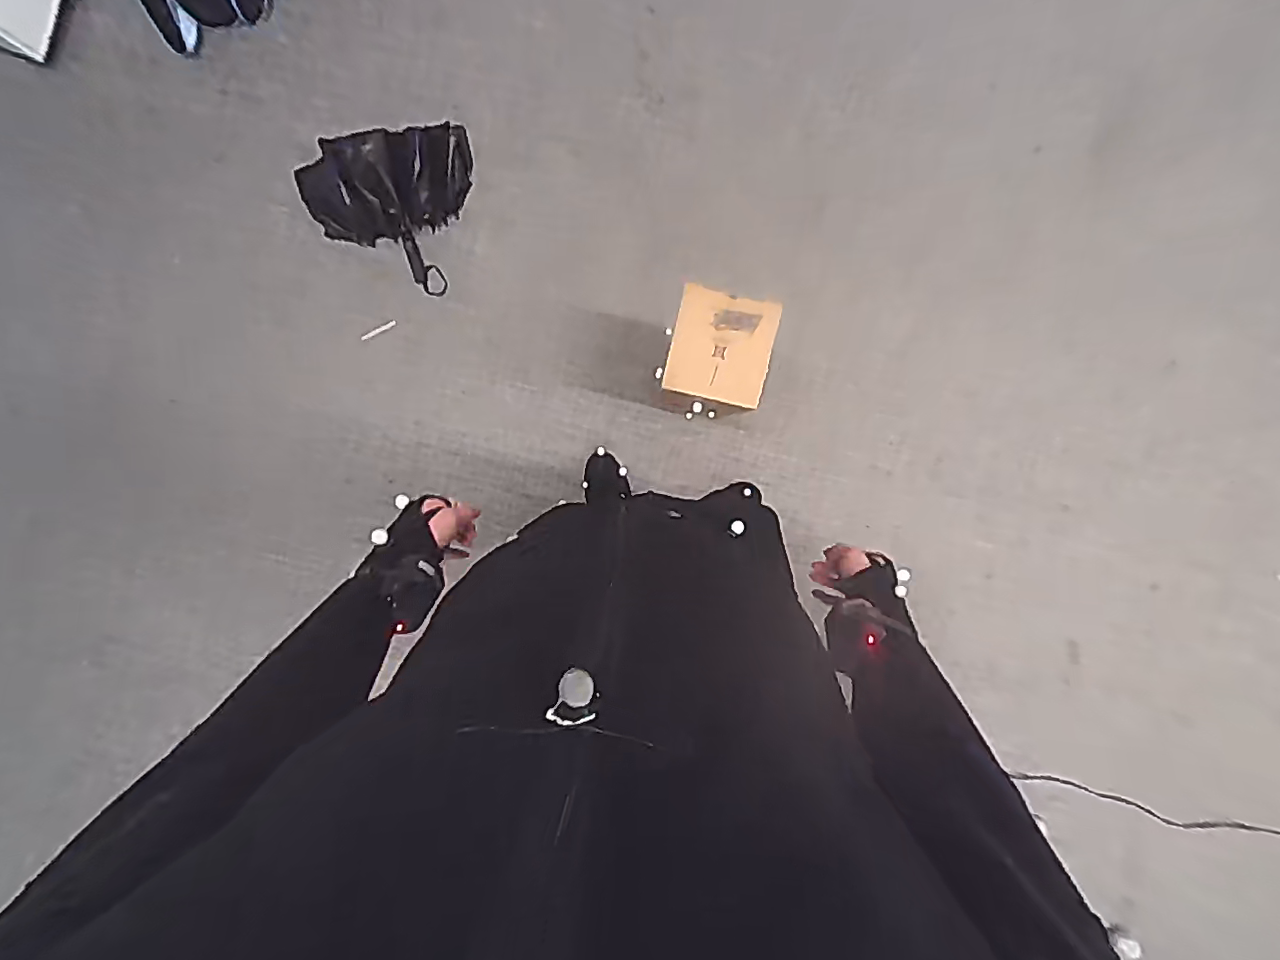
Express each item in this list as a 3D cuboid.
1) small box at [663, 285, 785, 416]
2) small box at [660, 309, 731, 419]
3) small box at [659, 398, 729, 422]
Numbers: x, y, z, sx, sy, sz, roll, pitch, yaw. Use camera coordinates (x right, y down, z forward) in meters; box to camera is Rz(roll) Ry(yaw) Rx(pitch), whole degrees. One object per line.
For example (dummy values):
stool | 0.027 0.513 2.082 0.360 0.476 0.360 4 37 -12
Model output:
small box | 0.138 -0.218 0.957 0.168 0.176 0.179 14 94 0
small box | 0.139 -0.230 1.121 0.168 0.176 0.179 13 92 0
small box | 0.142 -0.238 1.282 0.168 0.176 0.179 12 94 0
